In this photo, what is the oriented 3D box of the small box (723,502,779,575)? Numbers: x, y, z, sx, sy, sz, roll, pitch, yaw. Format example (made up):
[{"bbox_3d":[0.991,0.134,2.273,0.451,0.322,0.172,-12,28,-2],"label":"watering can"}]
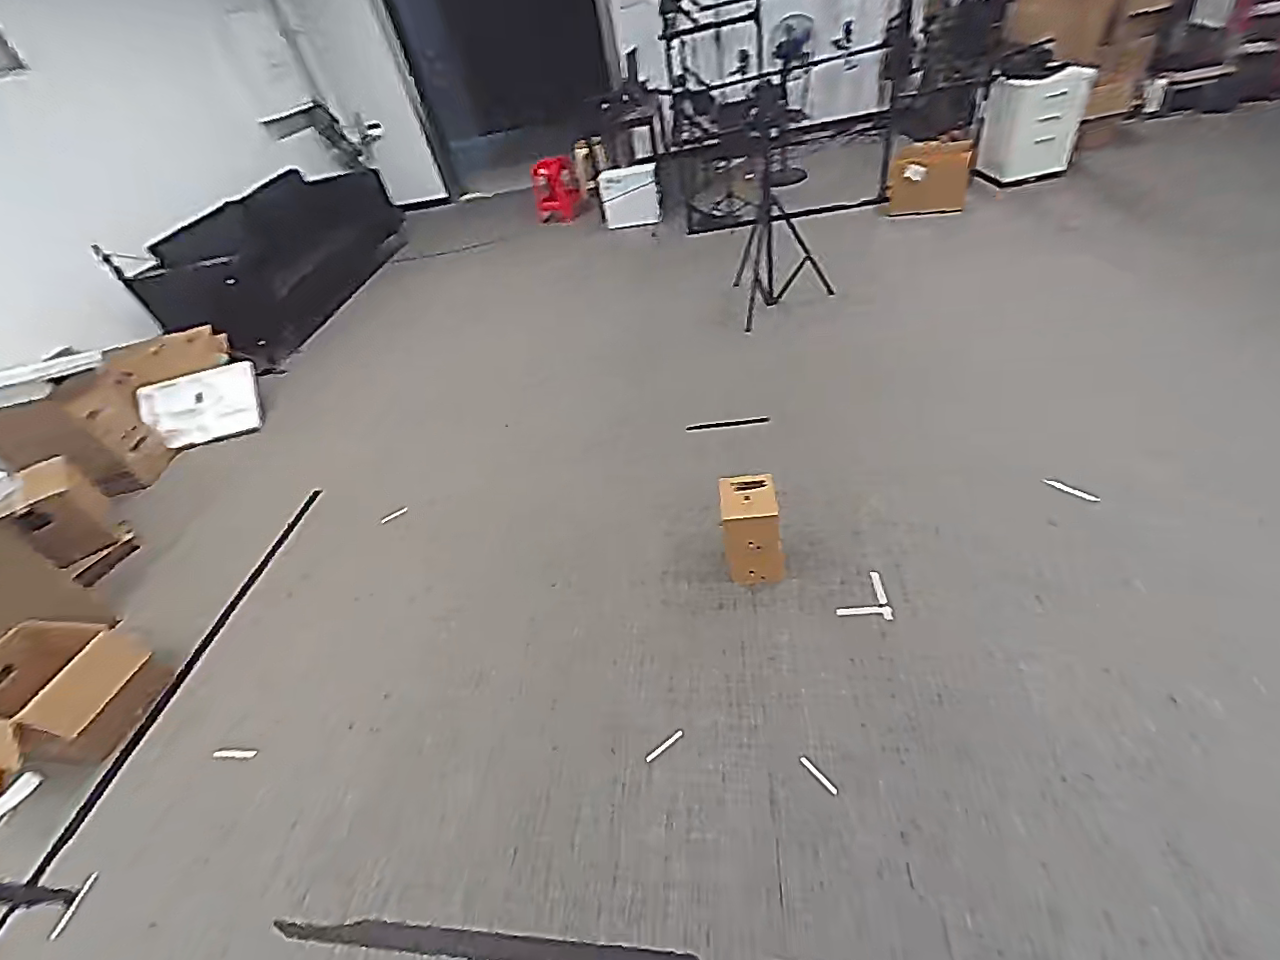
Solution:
[{"bbox_3d":[0.369,0.197,1.807,0.168,0.176,0.179,-7,43,9],"label":"small box"}]
